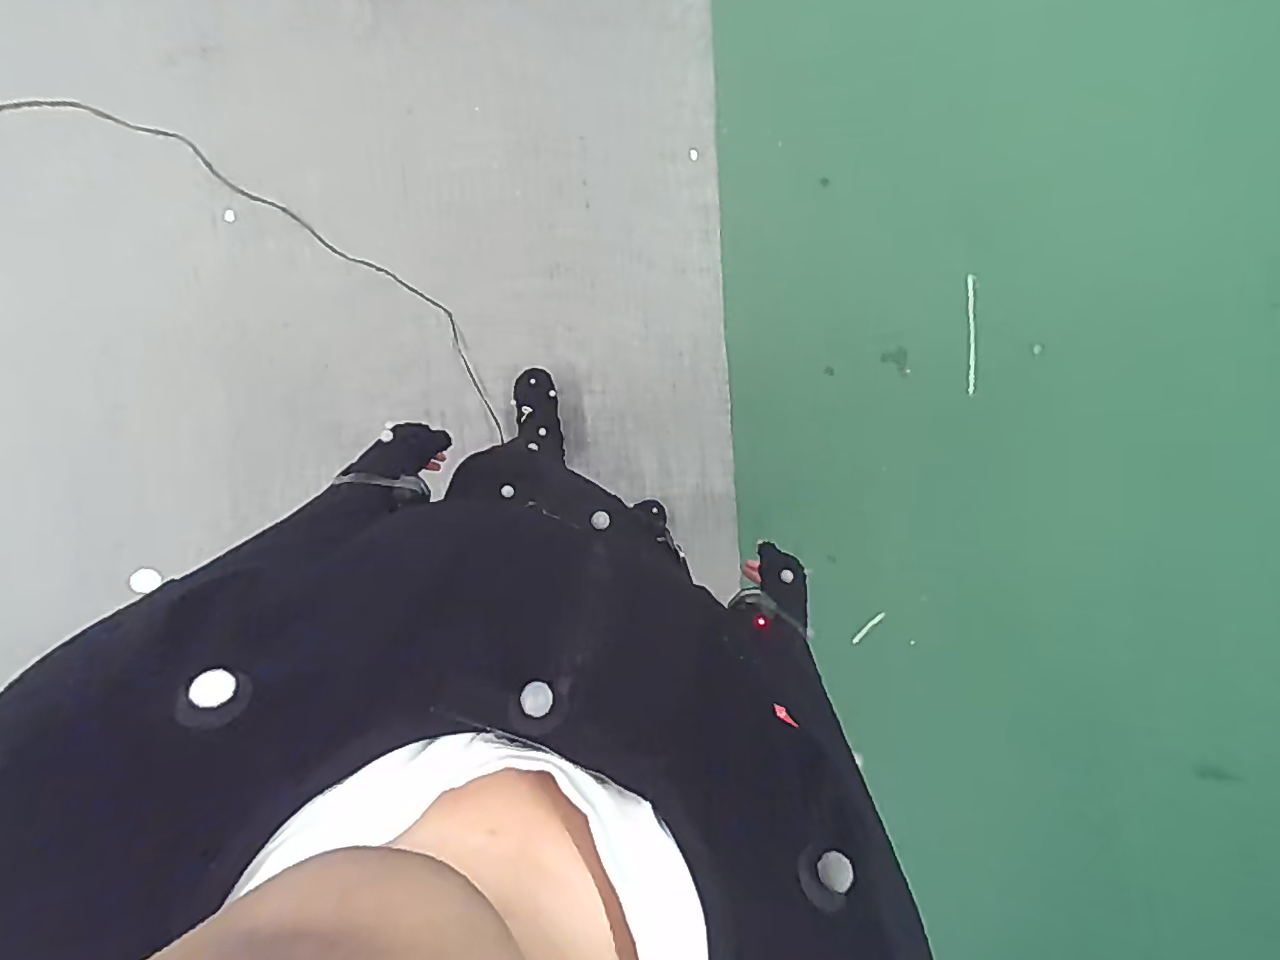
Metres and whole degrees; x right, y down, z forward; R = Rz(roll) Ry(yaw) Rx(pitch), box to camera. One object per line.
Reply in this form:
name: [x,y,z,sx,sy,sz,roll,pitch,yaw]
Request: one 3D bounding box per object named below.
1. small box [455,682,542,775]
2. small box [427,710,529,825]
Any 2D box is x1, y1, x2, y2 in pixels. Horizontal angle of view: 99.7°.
small box: [-0.346,0.618,1.356,0.179,0.176,0.168,-2,91,2]
small box: [-0.347,0.624,1.191,0.179,0.176,0.168,-3,91,2]
